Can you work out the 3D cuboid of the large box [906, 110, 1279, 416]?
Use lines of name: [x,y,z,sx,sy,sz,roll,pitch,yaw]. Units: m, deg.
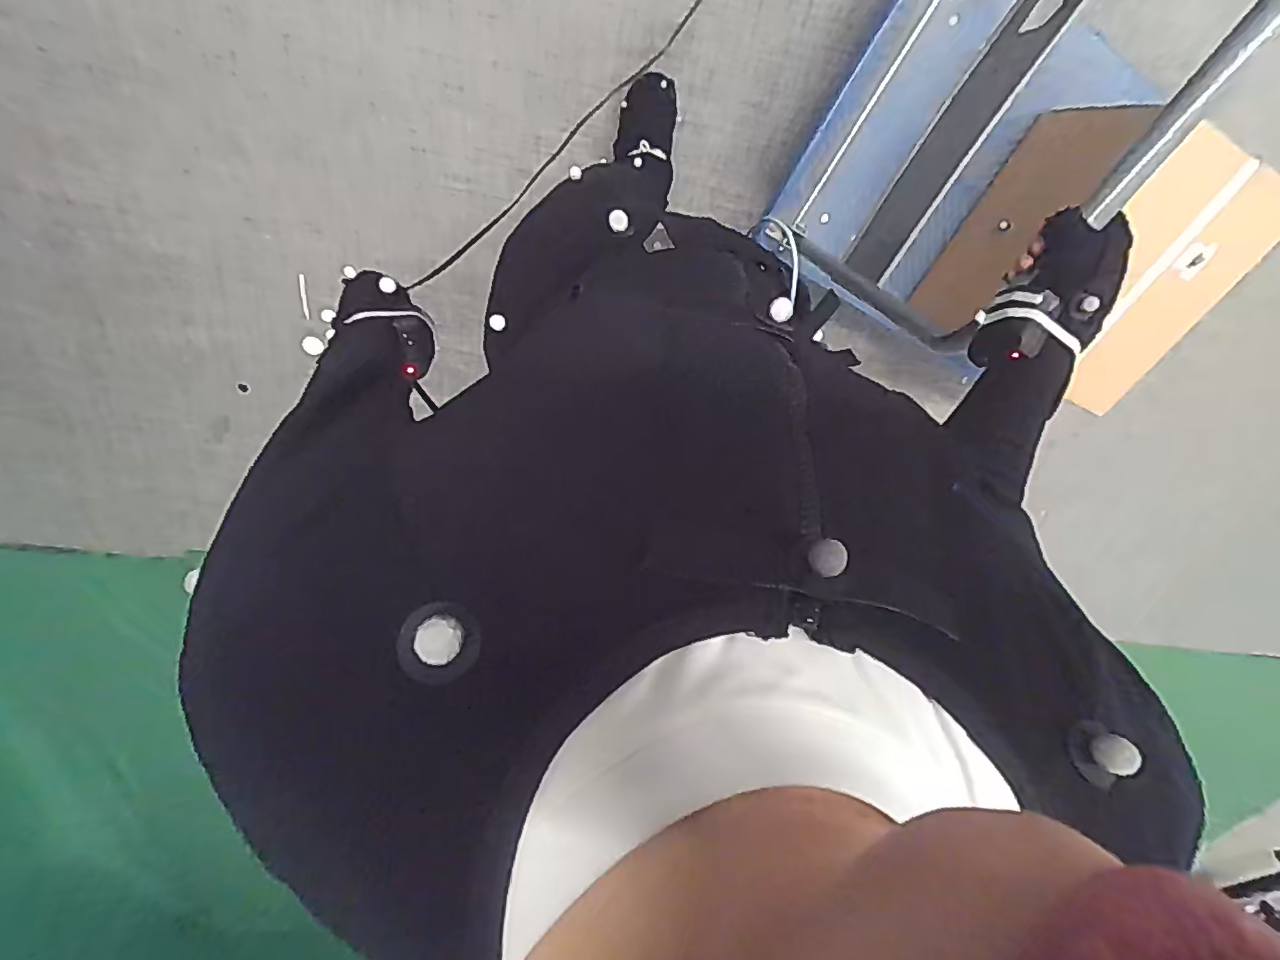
large box: [0.805,-0.400,1.024,0.320,0.320,0.408,19,119,-15]
